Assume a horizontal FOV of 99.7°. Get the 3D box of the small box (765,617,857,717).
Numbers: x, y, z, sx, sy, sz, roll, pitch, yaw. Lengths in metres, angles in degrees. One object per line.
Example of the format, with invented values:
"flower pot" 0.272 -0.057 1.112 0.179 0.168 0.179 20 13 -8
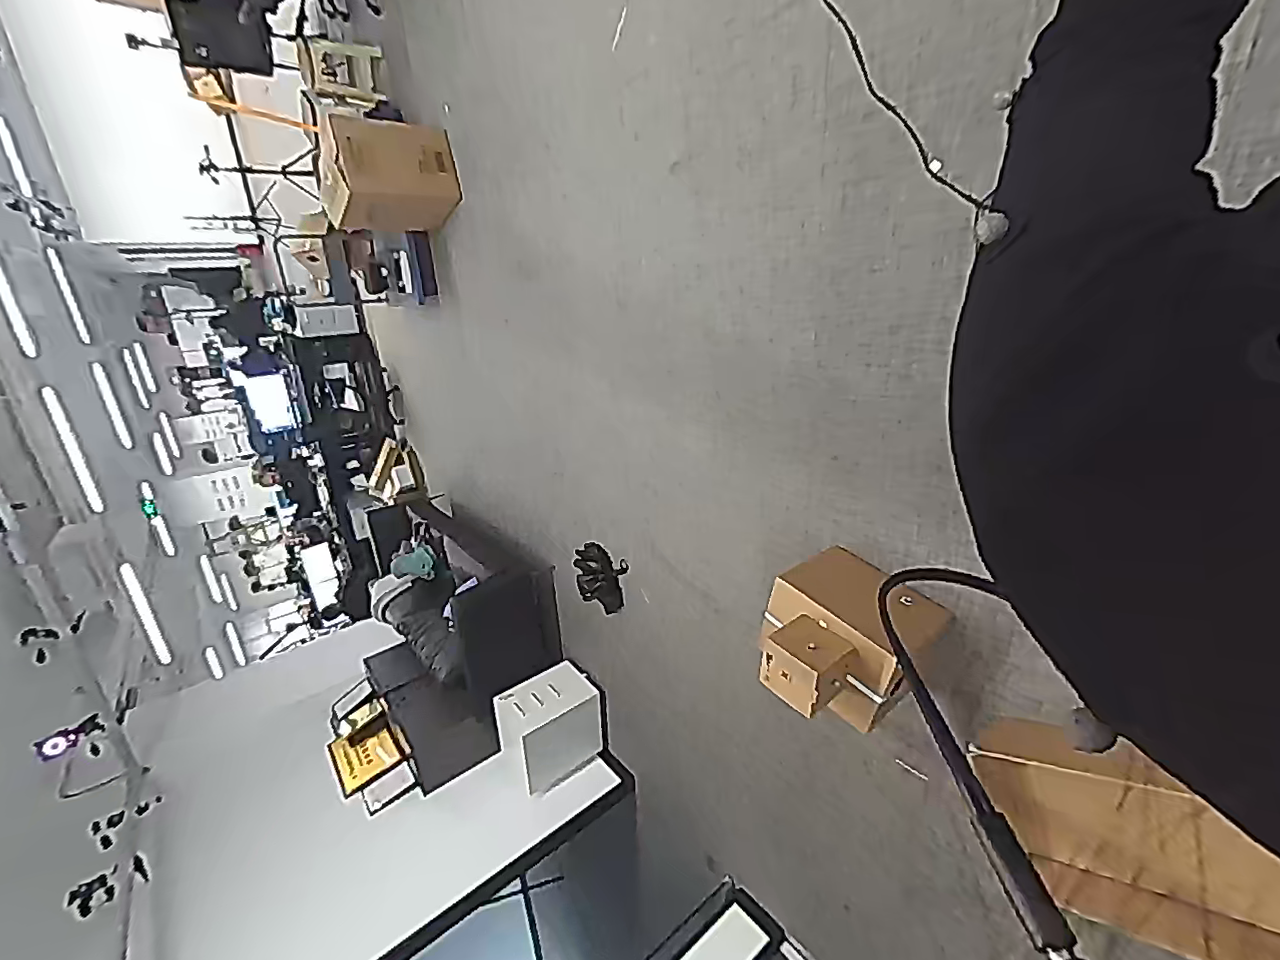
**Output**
"small box" 0.479 0.514 1.516 0.179 0.176 0.168 28 126 44
